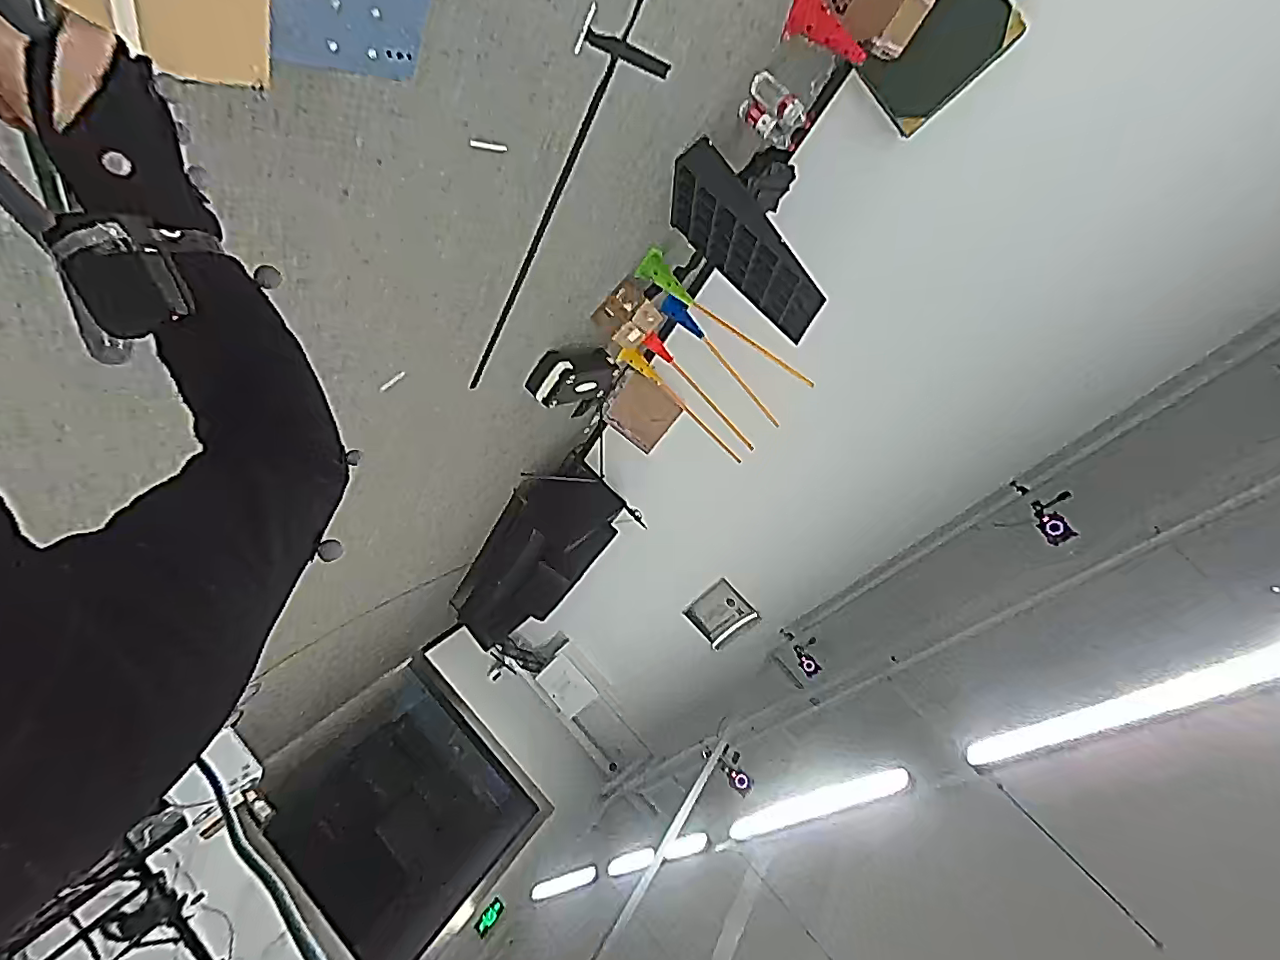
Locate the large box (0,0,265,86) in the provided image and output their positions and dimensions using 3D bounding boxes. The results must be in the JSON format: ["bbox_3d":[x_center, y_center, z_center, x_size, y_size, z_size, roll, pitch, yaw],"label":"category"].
[{"bbox_3d":[-0.611,-0.694,0.514,0.320,0.320,0.408,-37,170,-47],"label":"large box"}]
